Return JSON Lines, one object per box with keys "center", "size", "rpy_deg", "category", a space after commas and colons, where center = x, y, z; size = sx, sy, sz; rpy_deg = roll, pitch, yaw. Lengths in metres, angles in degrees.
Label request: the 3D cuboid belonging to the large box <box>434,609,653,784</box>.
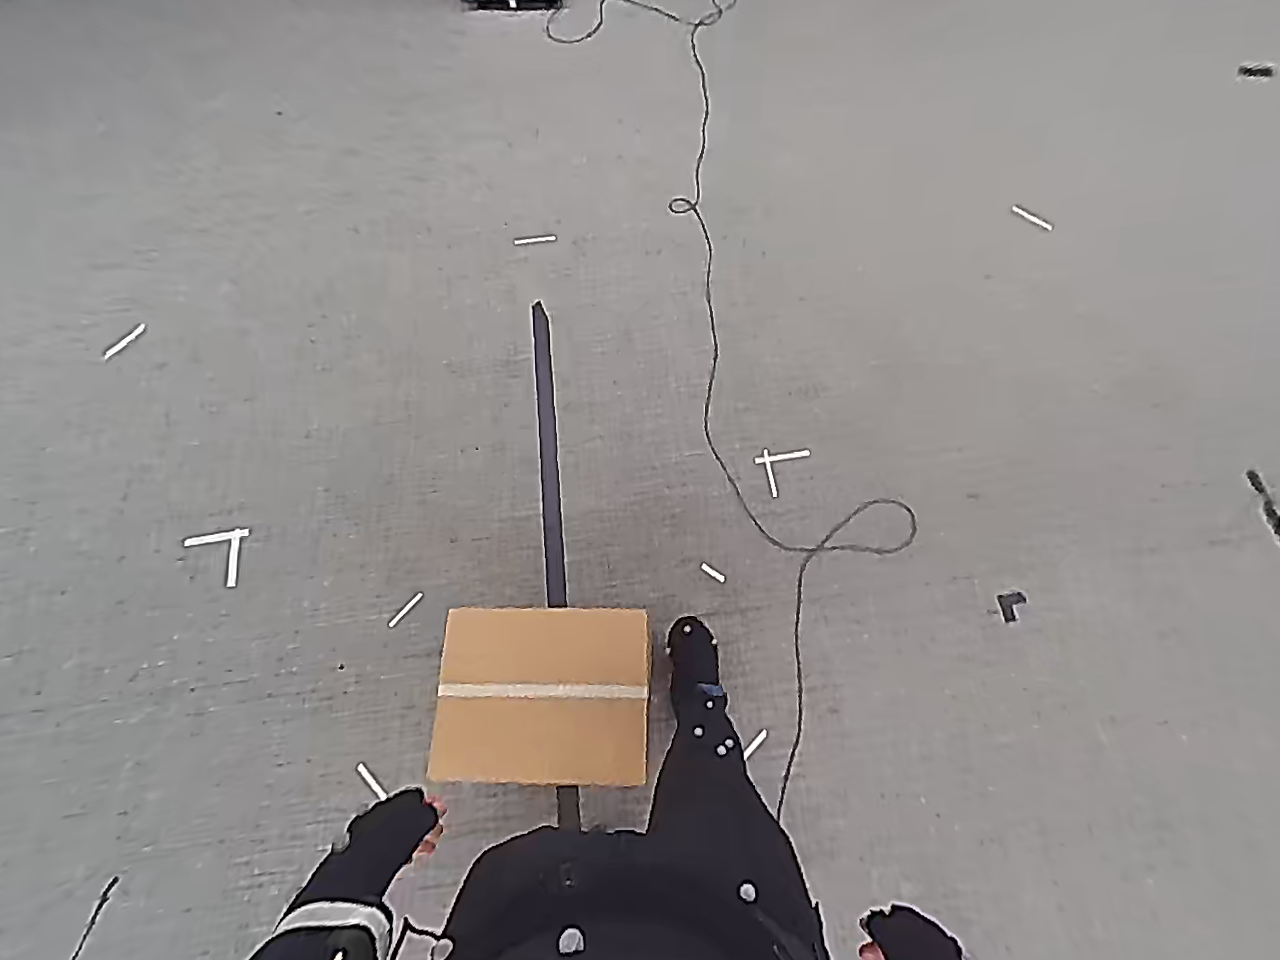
{"center": [-0.177, 0.458, 1.171], "size": [0.408, 0.320, 0.320], "rpy_deg": [0, 71, 2], "category": "large box"}
